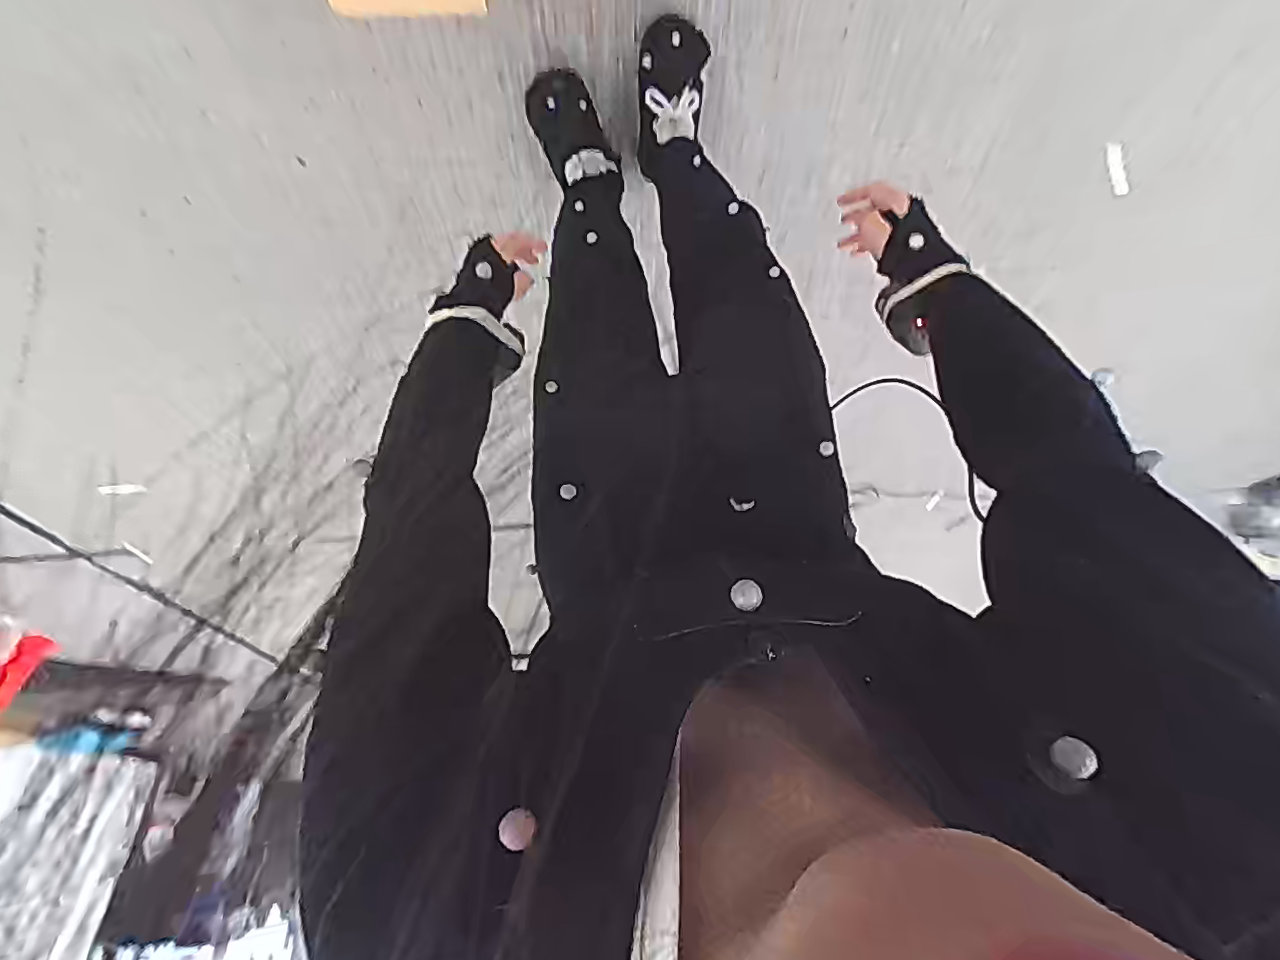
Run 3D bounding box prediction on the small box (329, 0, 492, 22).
[{"bbox_3d":[-0.264,-0.638,0.602,0.179,0.176,0.168,-3,143,-4],"label":"small box"}]
